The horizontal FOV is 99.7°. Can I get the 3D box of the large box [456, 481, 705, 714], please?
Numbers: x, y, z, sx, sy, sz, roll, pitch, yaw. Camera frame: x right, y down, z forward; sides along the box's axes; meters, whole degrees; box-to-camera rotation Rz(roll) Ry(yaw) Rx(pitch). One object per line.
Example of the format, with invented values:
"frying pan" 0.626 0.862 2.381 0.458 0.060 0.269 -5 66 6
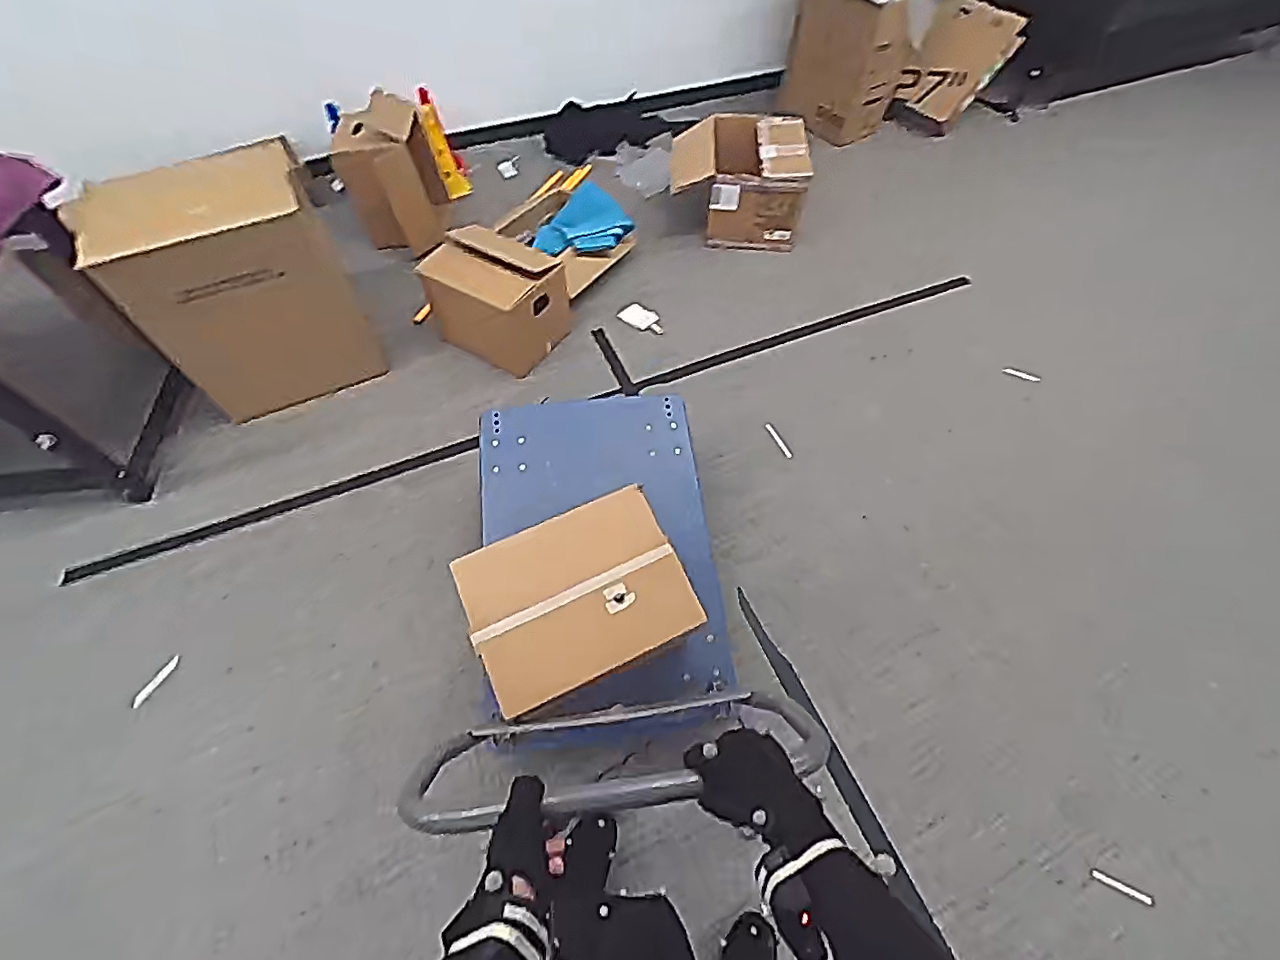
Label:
"large box" -0.124 0.266 1.172 0.408 0.320 0.320 -24 71 -13
